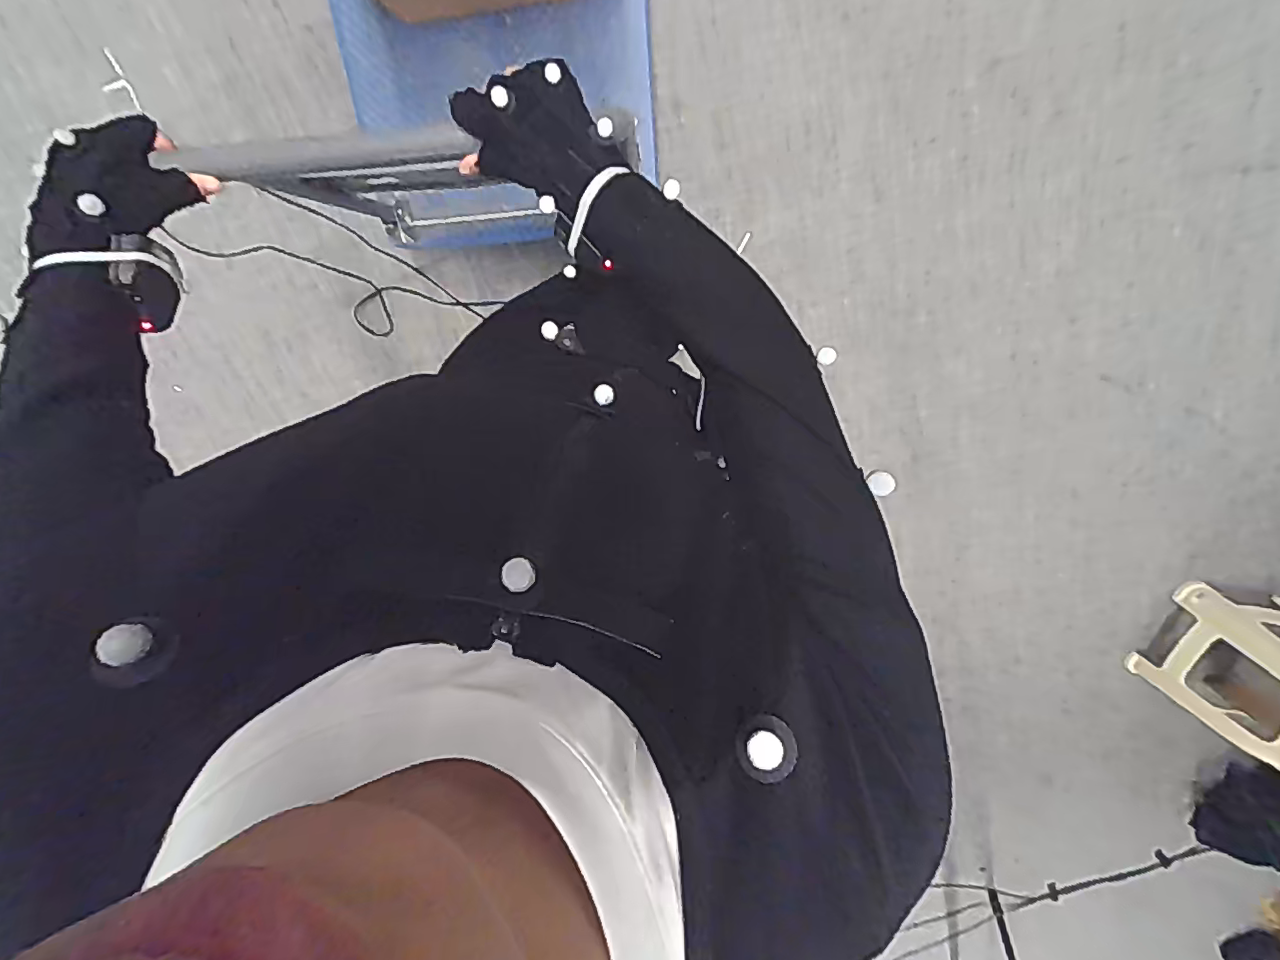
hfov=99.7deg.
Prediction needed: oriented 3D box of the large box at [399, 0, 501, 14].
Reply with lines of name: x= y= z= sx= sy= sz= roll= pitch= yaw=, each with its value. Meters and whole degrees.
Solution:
large box: x=-0.241 y=-0.938 z=0.774 sx=0.408 sy=0.320 sz=0.320 roll=-5 pitch=114 yaw=5
